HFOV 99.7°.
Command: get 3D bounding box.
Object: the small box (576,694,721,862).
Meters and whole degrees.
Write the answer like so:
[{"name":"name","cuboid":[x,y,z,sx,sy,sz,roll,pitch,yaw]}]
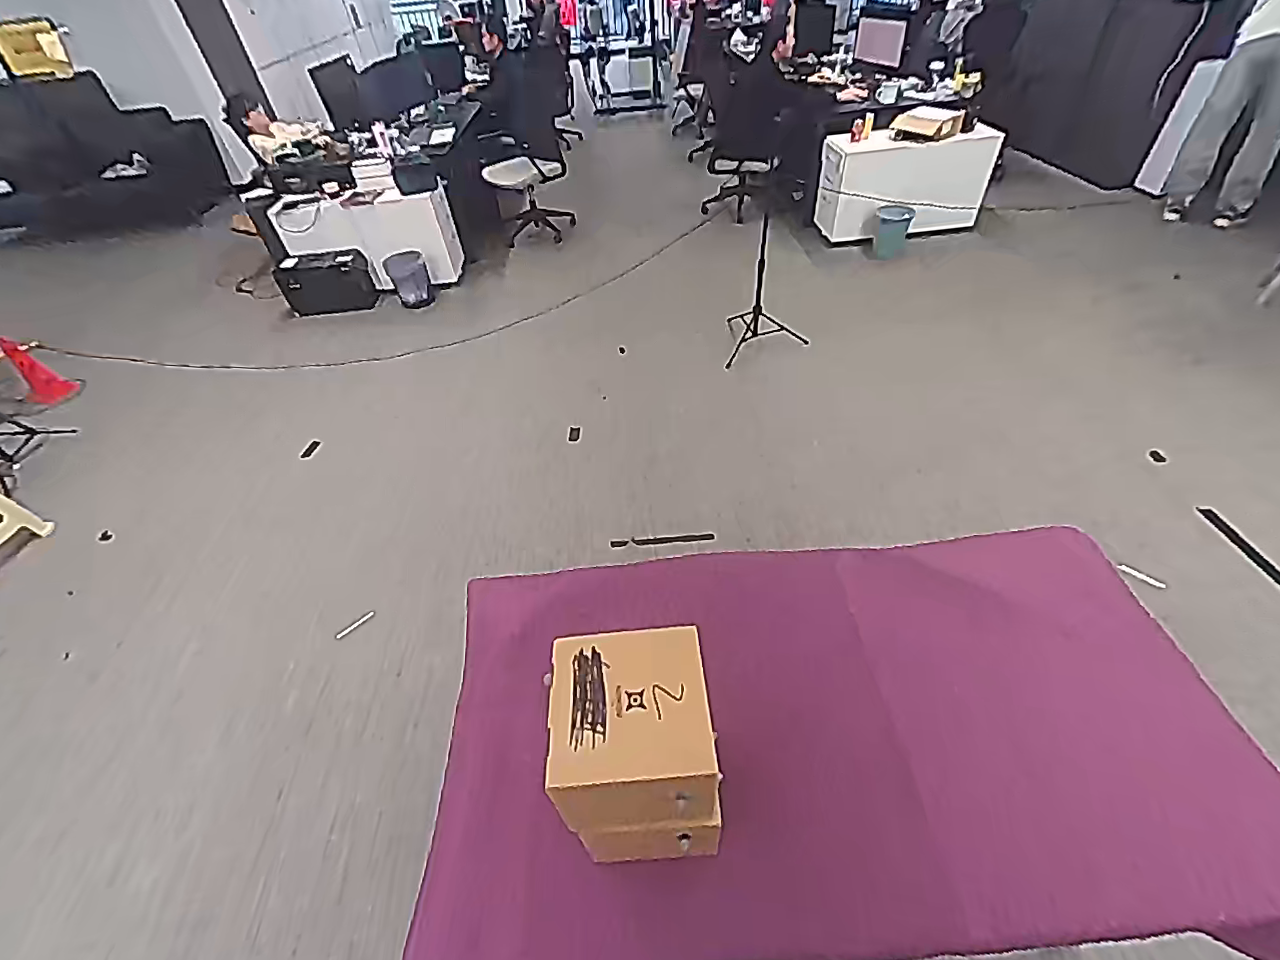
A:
[{"name":"small box","cuboid":[0.012,0.417,0.755,0.179,0.176,0.168,-4,45,1]}]
